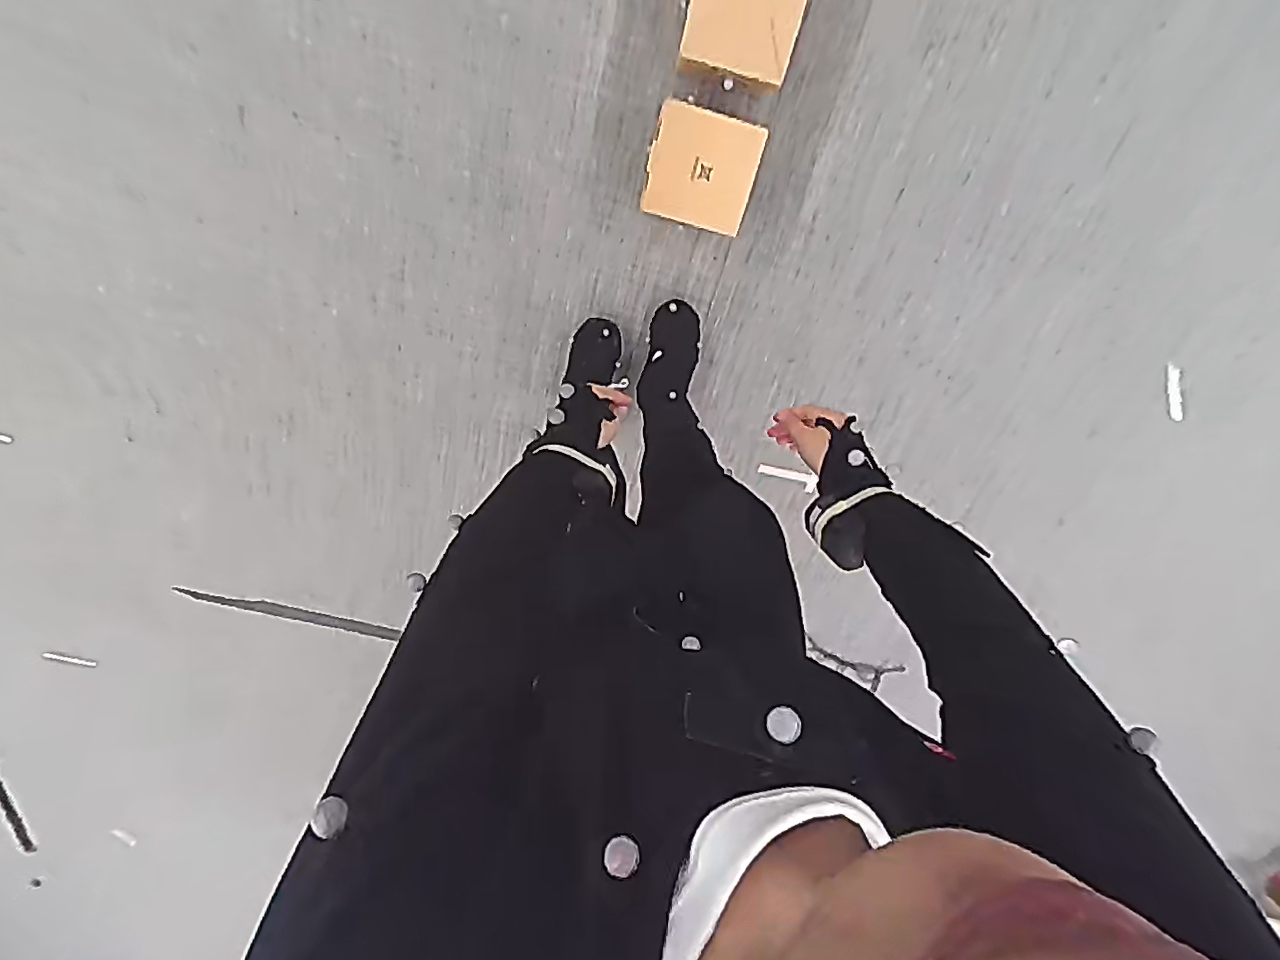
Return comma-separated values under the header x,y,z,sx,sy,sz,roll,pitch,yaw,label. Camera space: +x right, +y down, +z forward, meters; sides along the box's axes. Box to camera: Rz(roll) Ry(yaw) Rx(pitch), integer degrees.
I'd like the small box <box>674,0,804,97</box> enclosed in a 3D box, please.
x,y,z,sx,sy,sz,roll,pitch,yaw,label
0.158,-0.740,0.858,0.168,0.176,0.179,12,119,-6,small box

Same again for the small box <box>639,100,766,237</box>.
x,y,z,sx,sy,sz,roll,pitch,yaw,label
0.103,-0.554,0.969,0.179,0.176,0.168,13,119,-6,small box
